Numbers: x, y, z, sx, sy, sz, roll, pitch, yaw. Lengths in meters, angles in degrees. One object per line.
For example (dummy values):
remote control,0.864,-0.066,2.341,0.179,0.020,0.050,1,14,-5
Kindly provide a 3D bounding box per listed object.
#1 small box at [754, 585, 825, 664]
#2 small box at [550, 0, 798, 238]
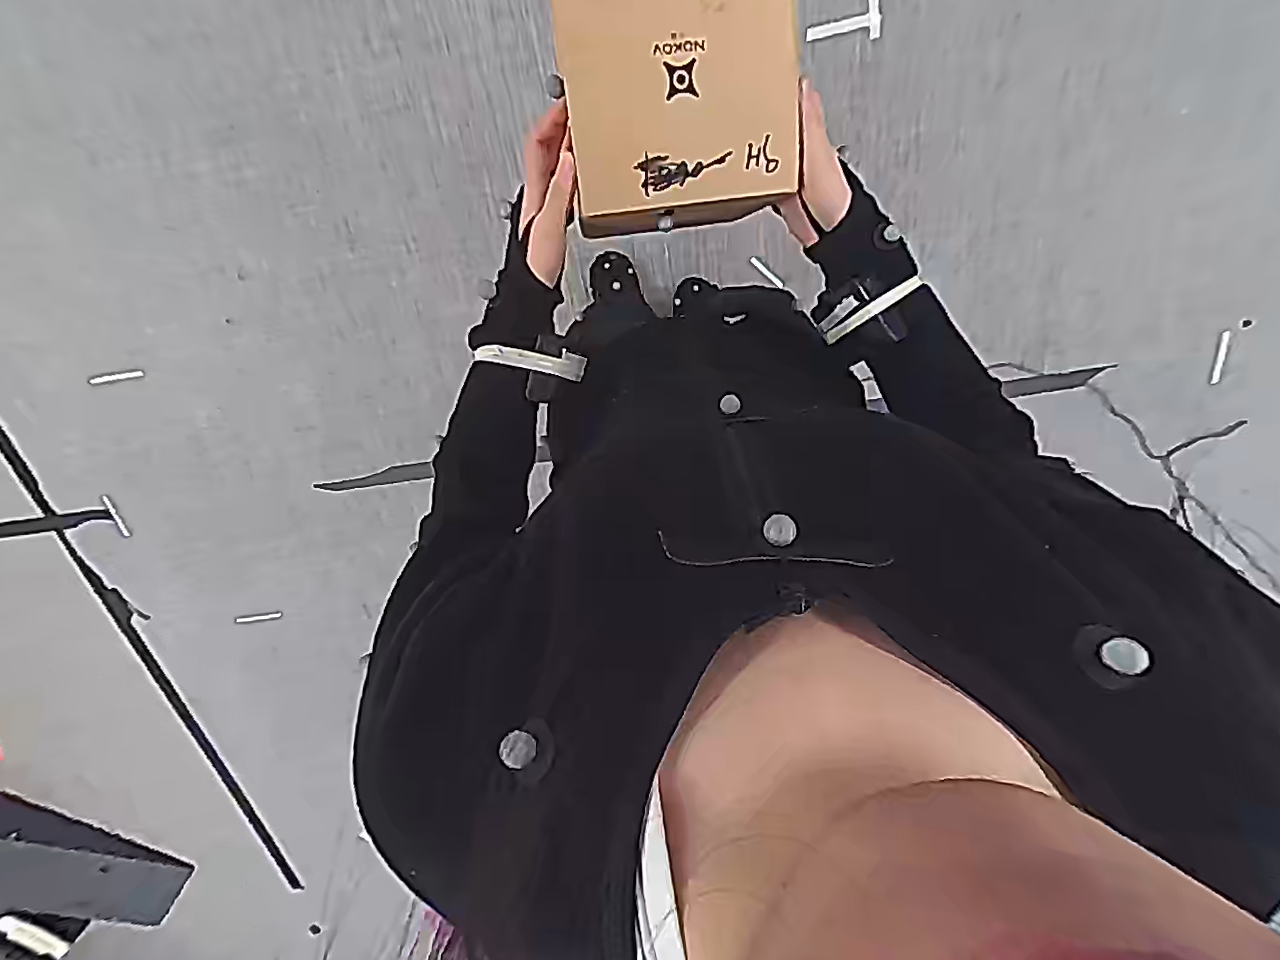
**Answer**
small box,0.453,0.436,1.655,0.179,0.176,0.168,-6,112,4
small box,0.019,-0.310,0.445,0.168,0.176,0.179,-8,109,-3
